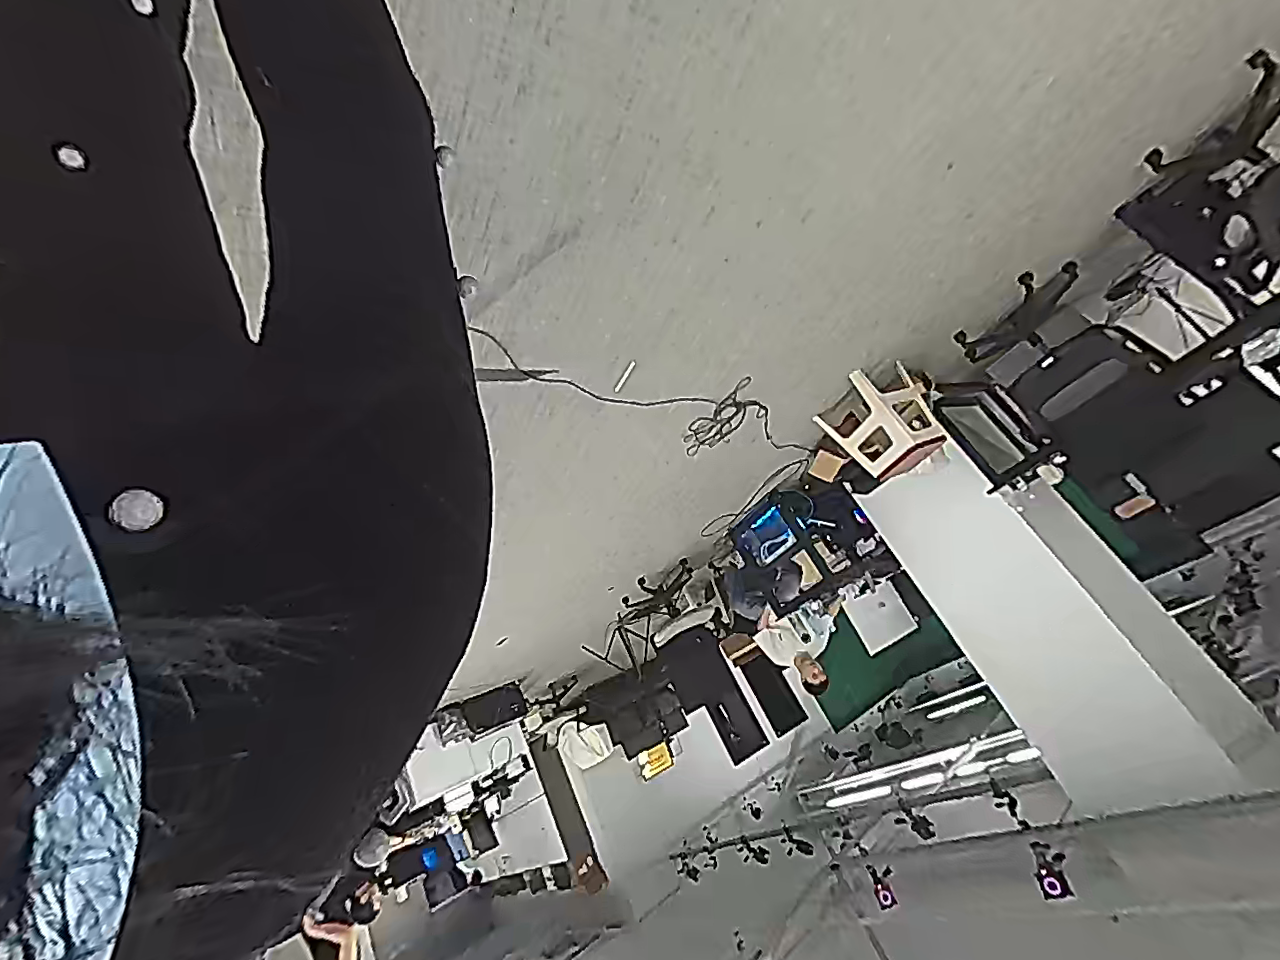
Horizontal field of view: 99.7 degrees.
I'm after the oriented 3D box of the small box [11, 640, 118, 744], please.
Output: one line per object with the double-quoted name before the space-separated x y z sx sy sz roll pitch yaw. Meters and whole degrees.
"small box" -1.435 0.526 1.355 0.168 0.176 0.179 -8 149 -42
